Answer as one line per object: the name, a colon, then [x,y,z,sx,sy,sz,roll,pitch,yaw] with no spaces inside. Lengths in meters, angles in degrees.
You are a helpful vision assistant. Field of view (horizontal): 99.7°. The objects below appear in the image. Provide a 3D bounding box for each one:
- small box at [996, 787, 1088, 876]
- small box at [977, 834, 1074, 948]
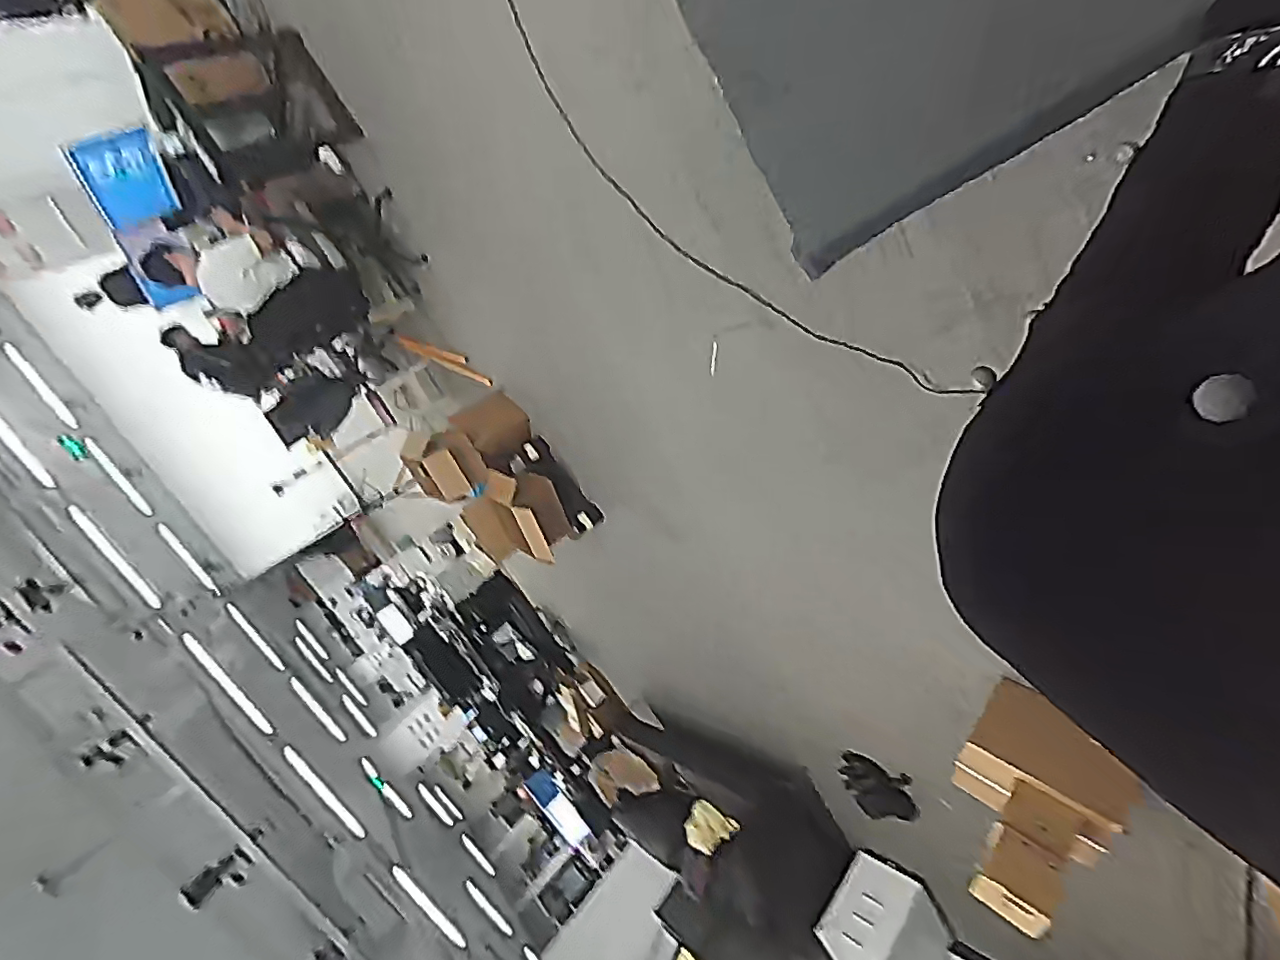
small box: [1.201,1.068,1.616,0.179,0.176,0.168,21,139,44]
small box: [1.087,1.150,1.524,0.168,0.176,0.179,25,141,39]
